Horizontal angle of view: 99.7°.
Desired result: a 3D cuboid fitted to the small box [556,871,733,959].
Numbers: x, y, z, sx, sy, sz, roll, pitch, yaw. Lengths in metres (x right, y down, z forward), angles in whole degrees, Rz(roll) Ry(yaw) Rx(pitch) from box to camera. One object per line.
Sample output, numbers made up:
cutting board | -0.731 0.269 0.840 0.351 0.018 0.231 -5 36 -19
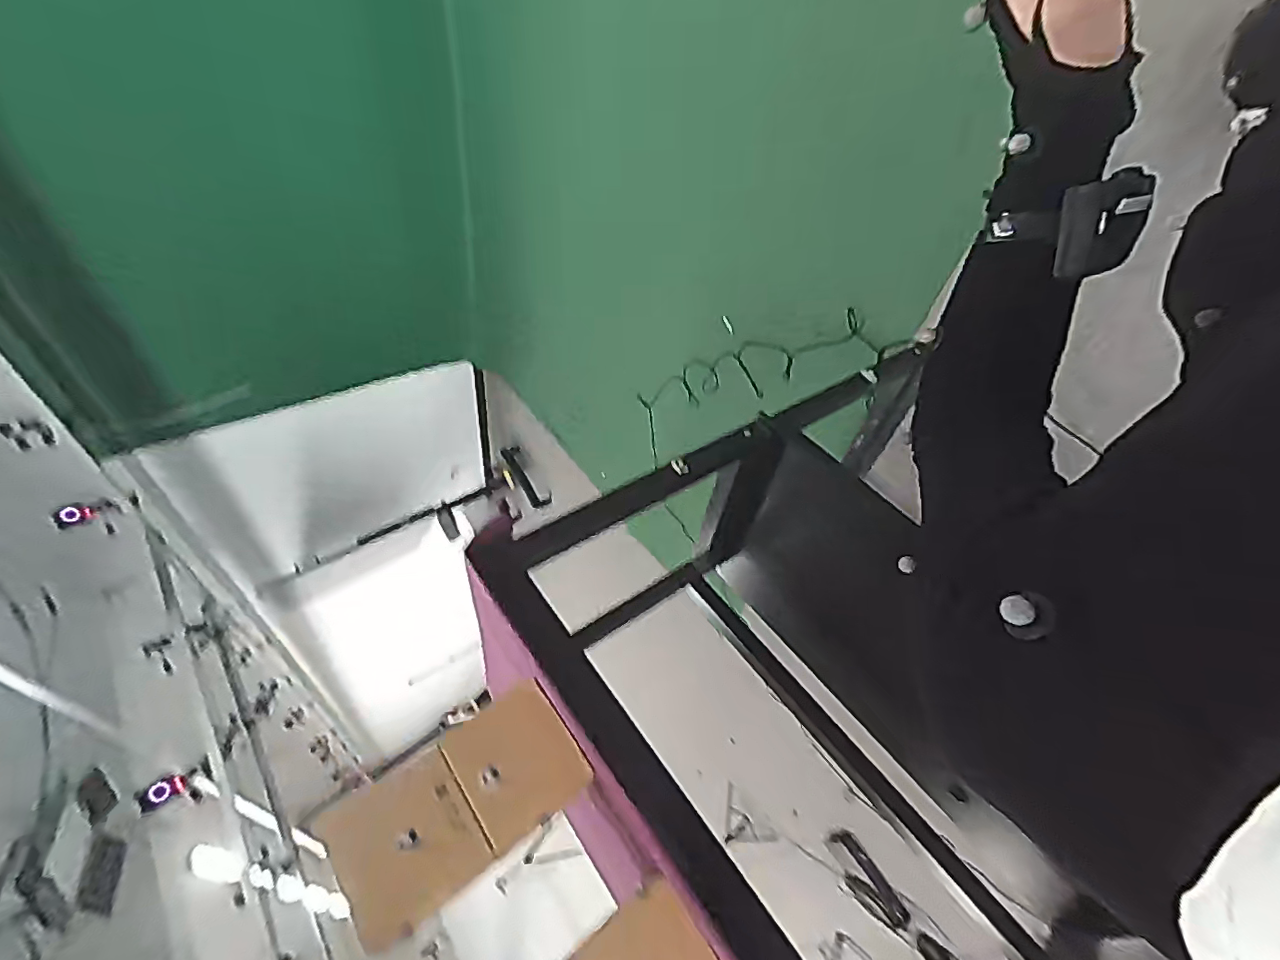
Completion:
small box | 0.013 0.634 0.686 0.179 0.176 0.168 48 148 24

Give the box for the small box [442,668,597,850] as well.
small box | -0.185 0.435 0.850 0.179 0.176 0.168 48 147 25

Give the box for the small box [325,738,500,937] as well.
small box | -0.313 0.505 0.774 0.168 0.176 0.179 48 147 26
